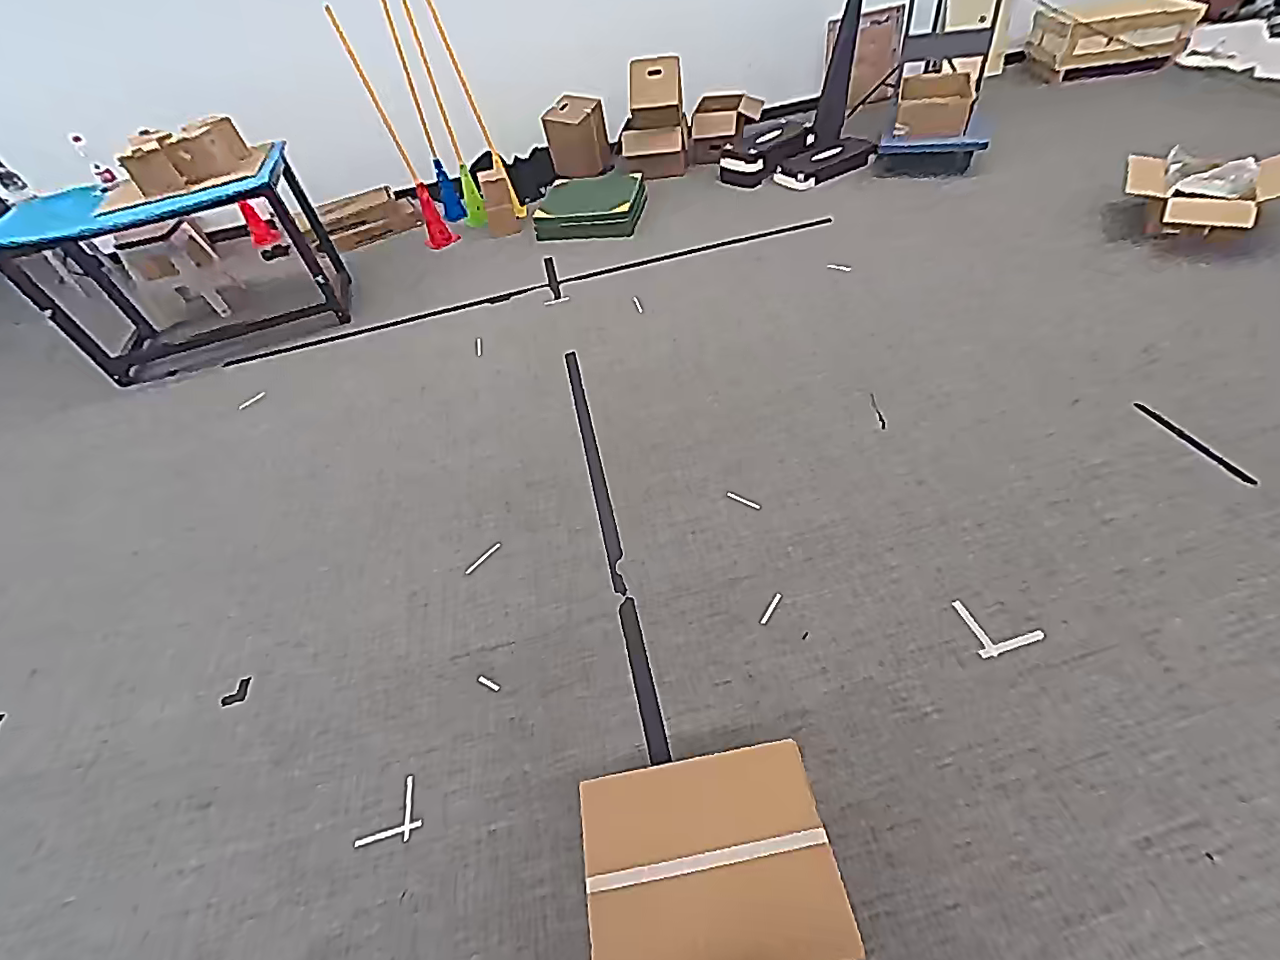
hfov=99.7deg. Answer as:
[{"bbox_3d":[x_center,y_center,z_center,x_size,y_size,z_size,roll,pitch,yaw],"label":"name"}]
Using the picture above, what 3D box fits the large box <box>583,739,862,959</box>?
[{"bbox_3d":[0.132,0.726,1.000,0.408,0.320,0.320,-11,46,-1],"label":"large box"}]
